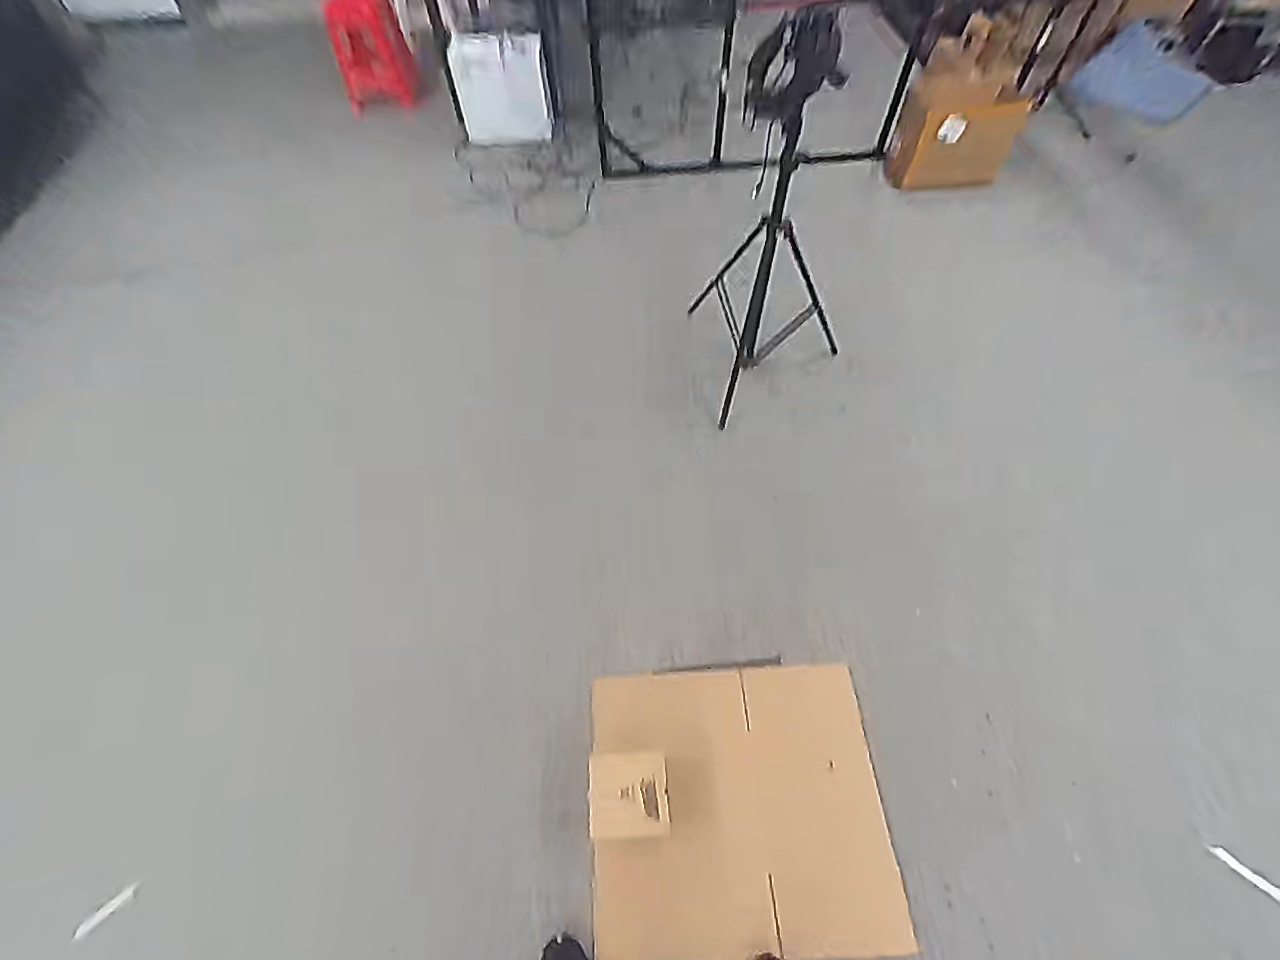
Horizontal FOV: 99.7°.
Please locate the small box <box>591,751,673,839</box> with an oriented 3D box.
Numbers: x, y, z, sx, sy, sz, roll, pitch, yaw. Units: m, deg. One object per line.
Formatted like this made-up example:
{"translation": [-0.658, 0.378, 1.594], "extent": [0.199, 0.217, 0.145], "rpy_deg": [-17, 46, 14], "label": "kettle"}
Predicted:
{"translation": [-0.019, 0.730, 1.258], "extent": [0.179, 0.176, 0.168], "rpy_deg": [-4, 58, 1], "label": "small box"}
